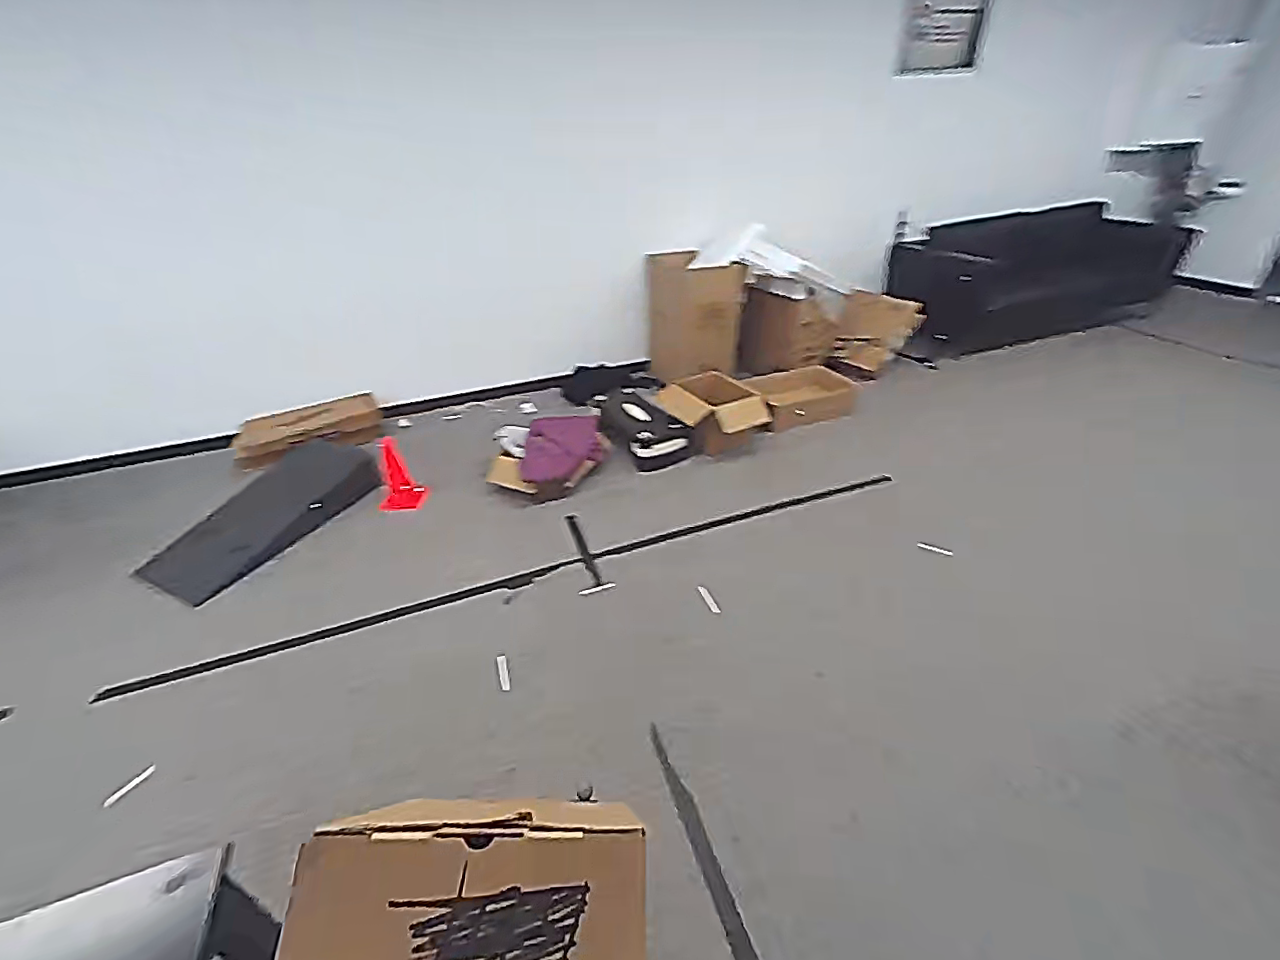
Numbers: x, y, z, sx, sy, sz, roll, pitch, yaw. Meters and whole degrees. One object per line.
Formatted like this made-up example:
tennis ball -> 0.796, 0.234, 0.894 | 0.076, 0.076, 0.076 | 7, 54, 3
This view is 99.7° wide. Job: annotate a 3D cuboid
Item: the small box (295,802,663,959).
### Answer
small box -> -0.078, 0.283, 0.297 | 0.168, 0.176, 0.179 | 2, 63, -3
